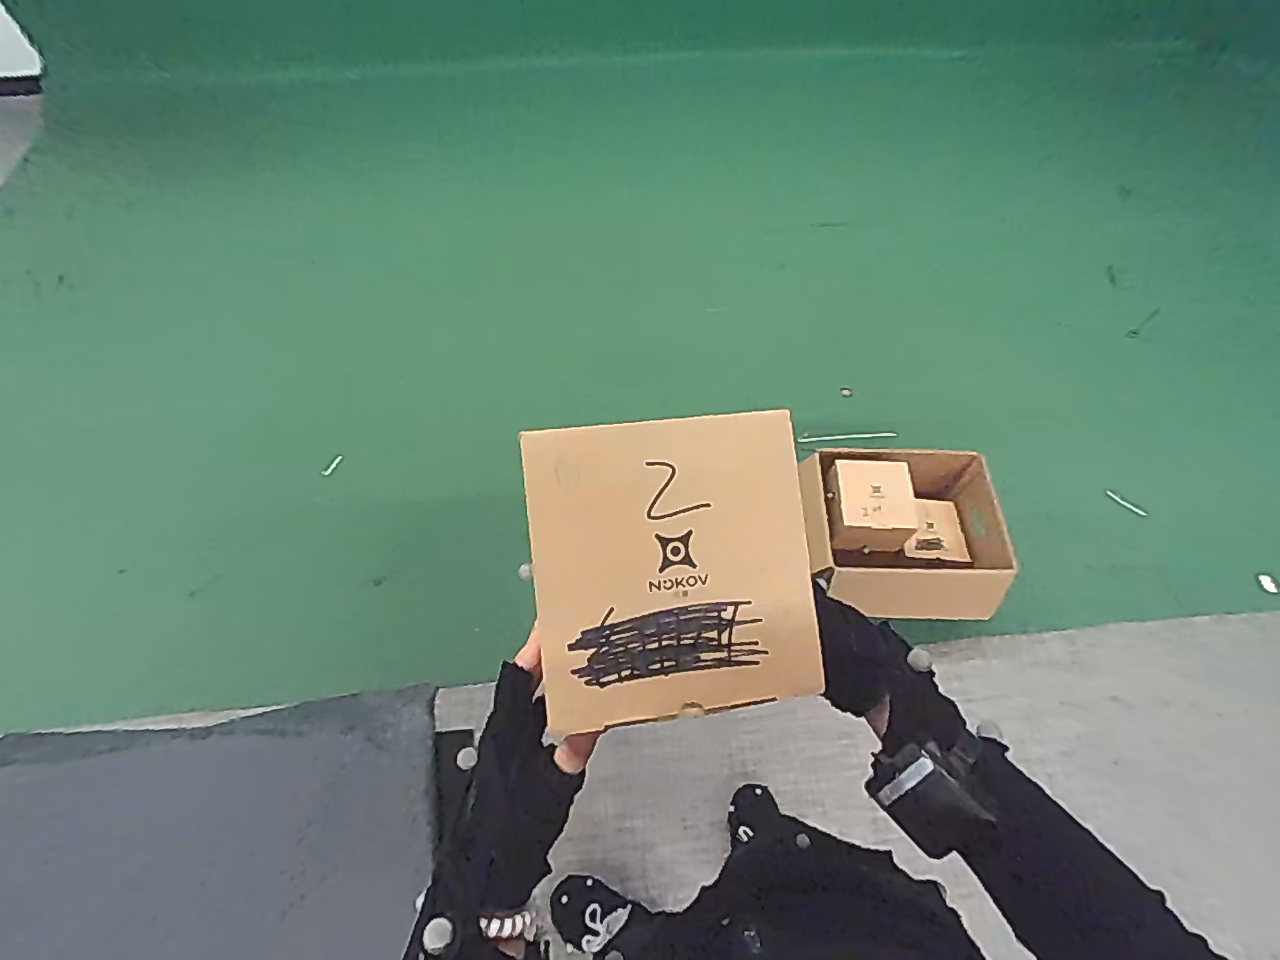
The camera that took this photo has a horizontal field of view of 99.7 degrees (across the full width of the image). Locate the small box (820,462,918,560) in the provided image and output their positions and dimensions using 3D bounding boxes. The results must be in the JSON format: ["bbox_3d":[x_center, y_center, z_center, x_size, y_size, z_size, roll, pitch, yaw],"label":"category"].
[{"bbox_3d":[0.540,0.077,1.302,0.168,0.176,0.179,3,60,4],"label":"small box"}]
